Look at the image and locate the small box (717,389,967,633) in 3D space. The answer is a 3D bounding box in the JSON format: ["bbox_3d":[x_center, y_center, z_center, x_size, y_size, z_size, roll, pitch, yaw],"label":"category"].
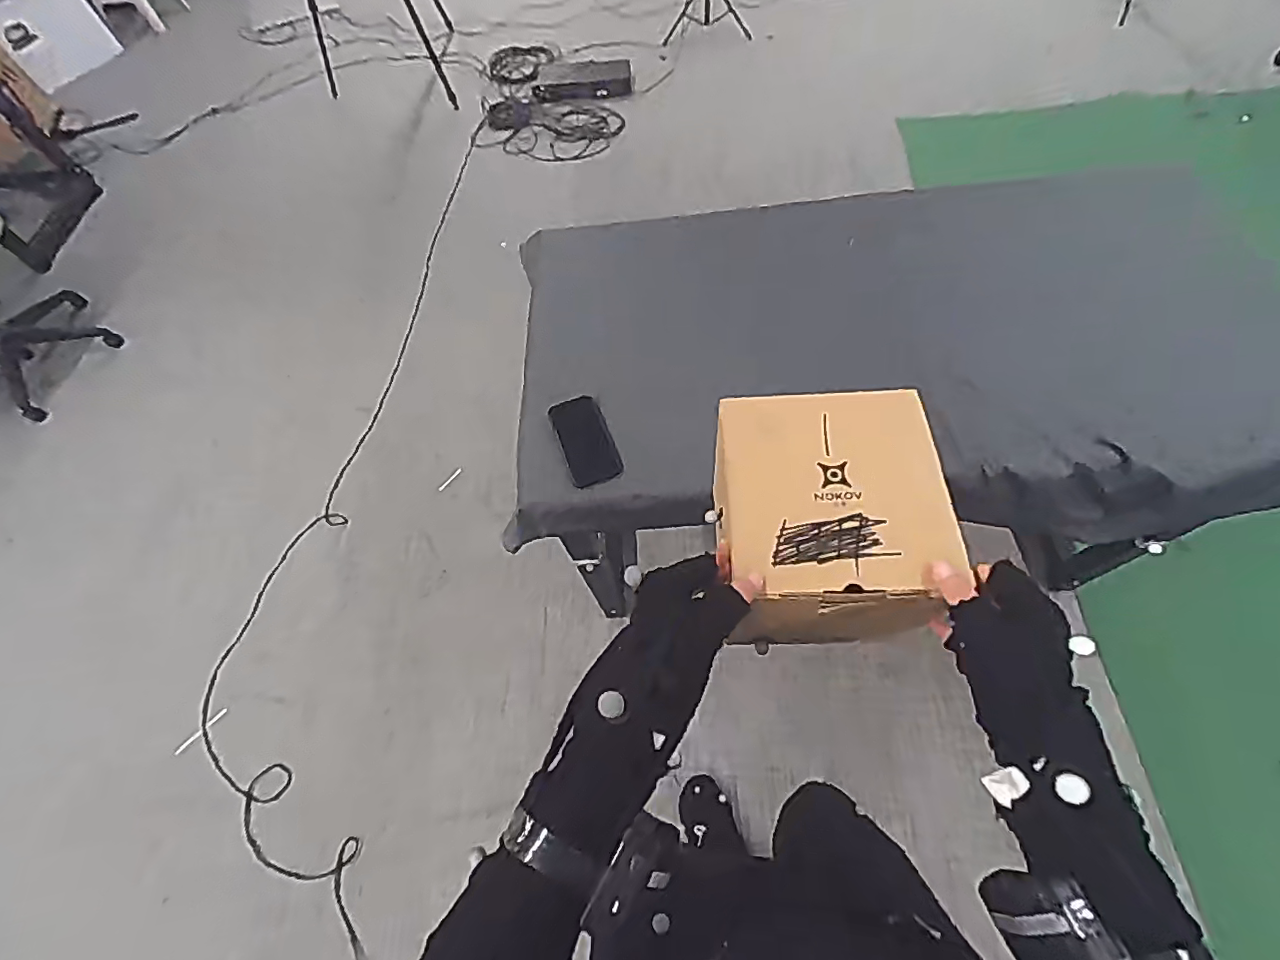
[{"bbox_3d":[0.160,0.039,0.497,0.168,0.176,0.179,-2,61,4],"label":"small box"}]
